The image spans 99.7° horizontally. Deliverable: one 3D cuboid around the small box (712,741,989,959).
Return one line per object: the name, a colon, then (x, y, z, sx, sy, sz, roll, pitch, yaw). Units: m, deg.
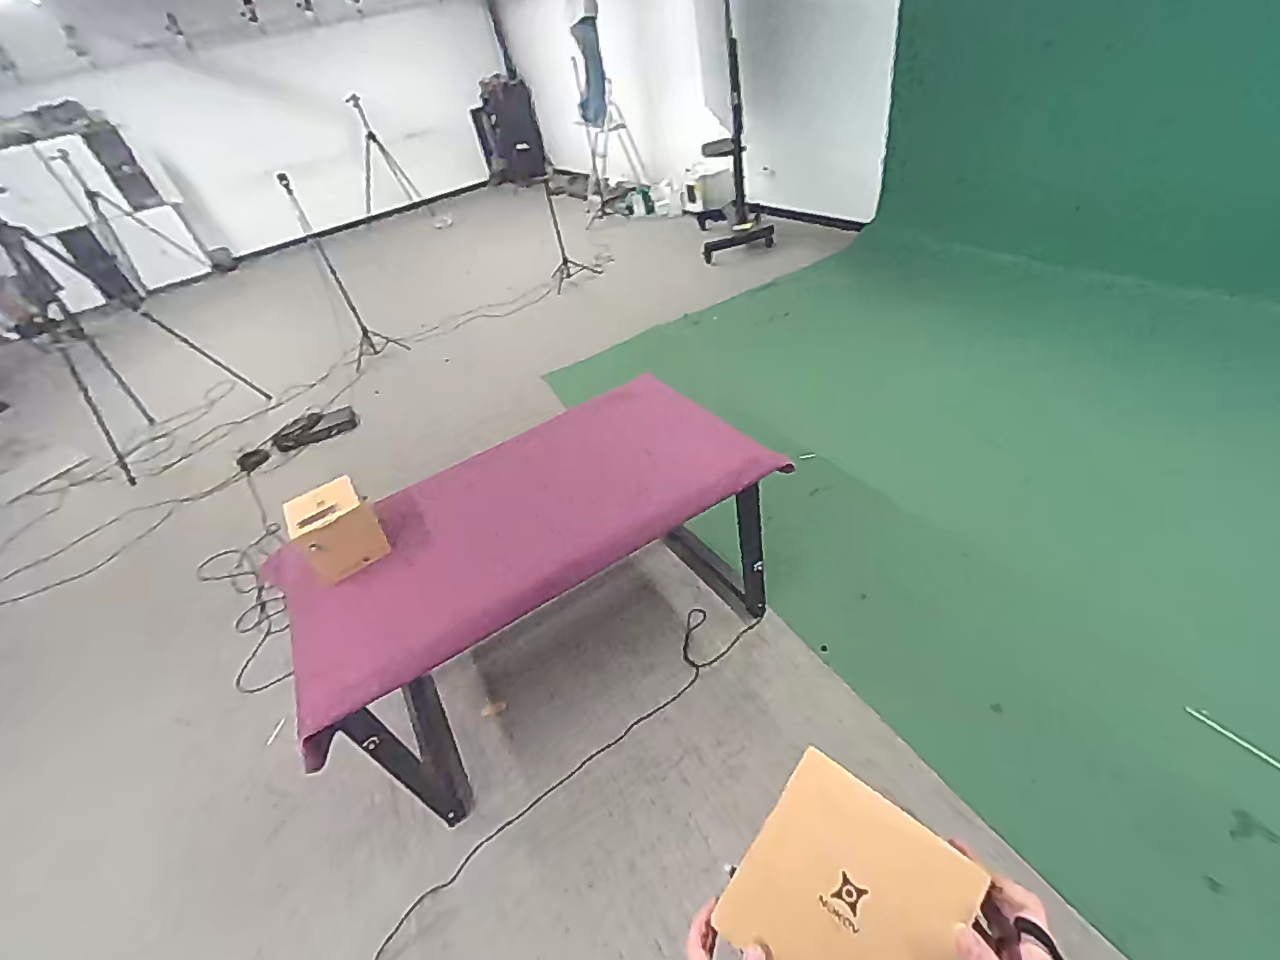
small box: (0.189, 0.385, 0.516, 0.168, 0.176, 0.179, 29, 70, 29)
